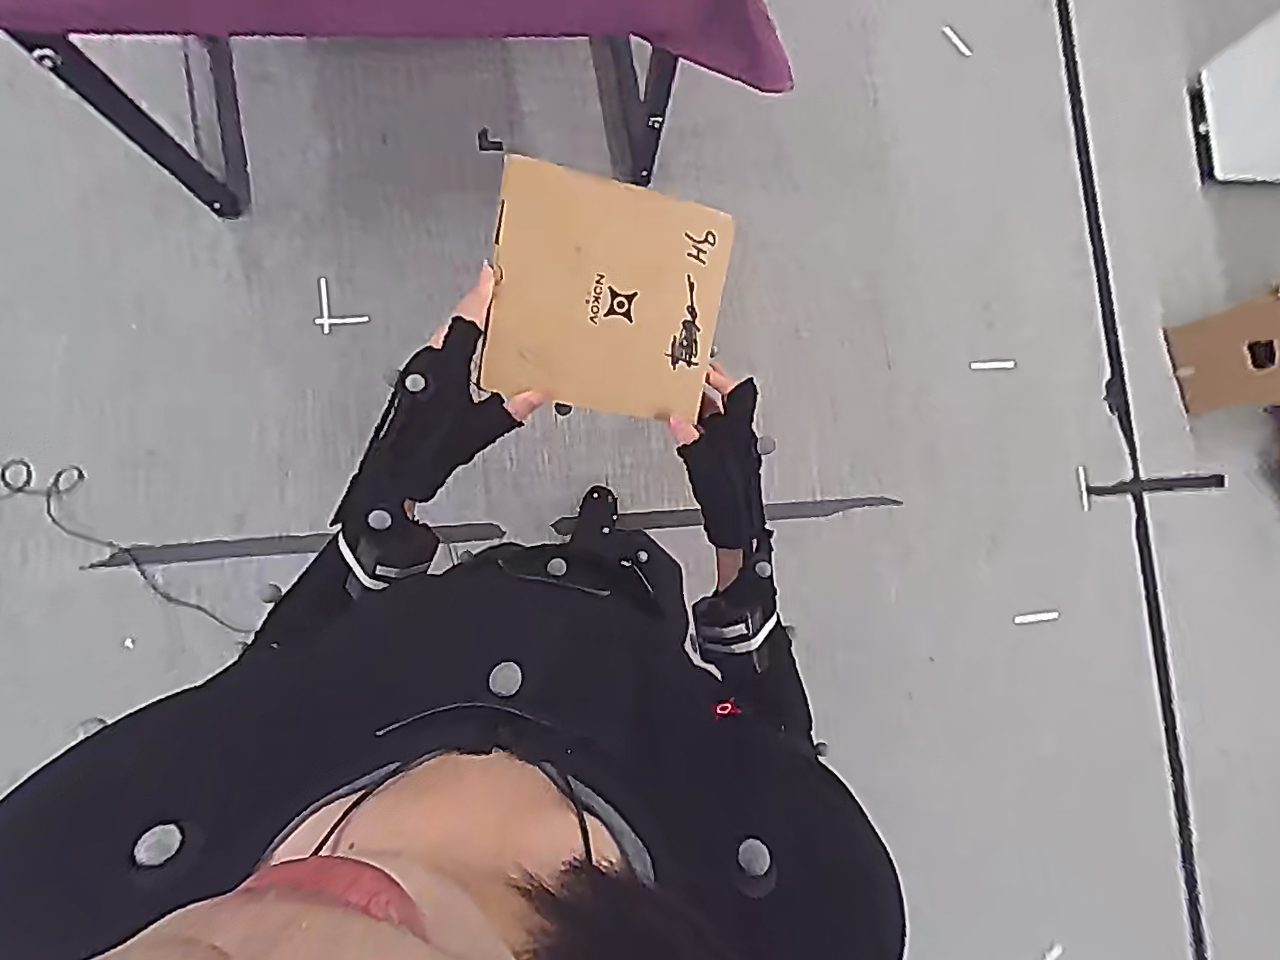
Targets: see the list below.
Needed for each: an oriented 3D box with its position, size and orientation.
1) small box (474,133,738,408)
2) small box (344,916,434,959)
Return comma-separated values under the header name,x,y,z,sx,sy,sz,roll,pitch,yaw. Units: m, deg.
name,x,y,z,sx,sy,sz,roll,pitch,yaw
small box,-0.039,-0.161,0.474,0.179,0.176,0.168,8,99,-14
small box,-0.592,1.174,1.260,0.179,0.176,0.168,-8,87,-10
